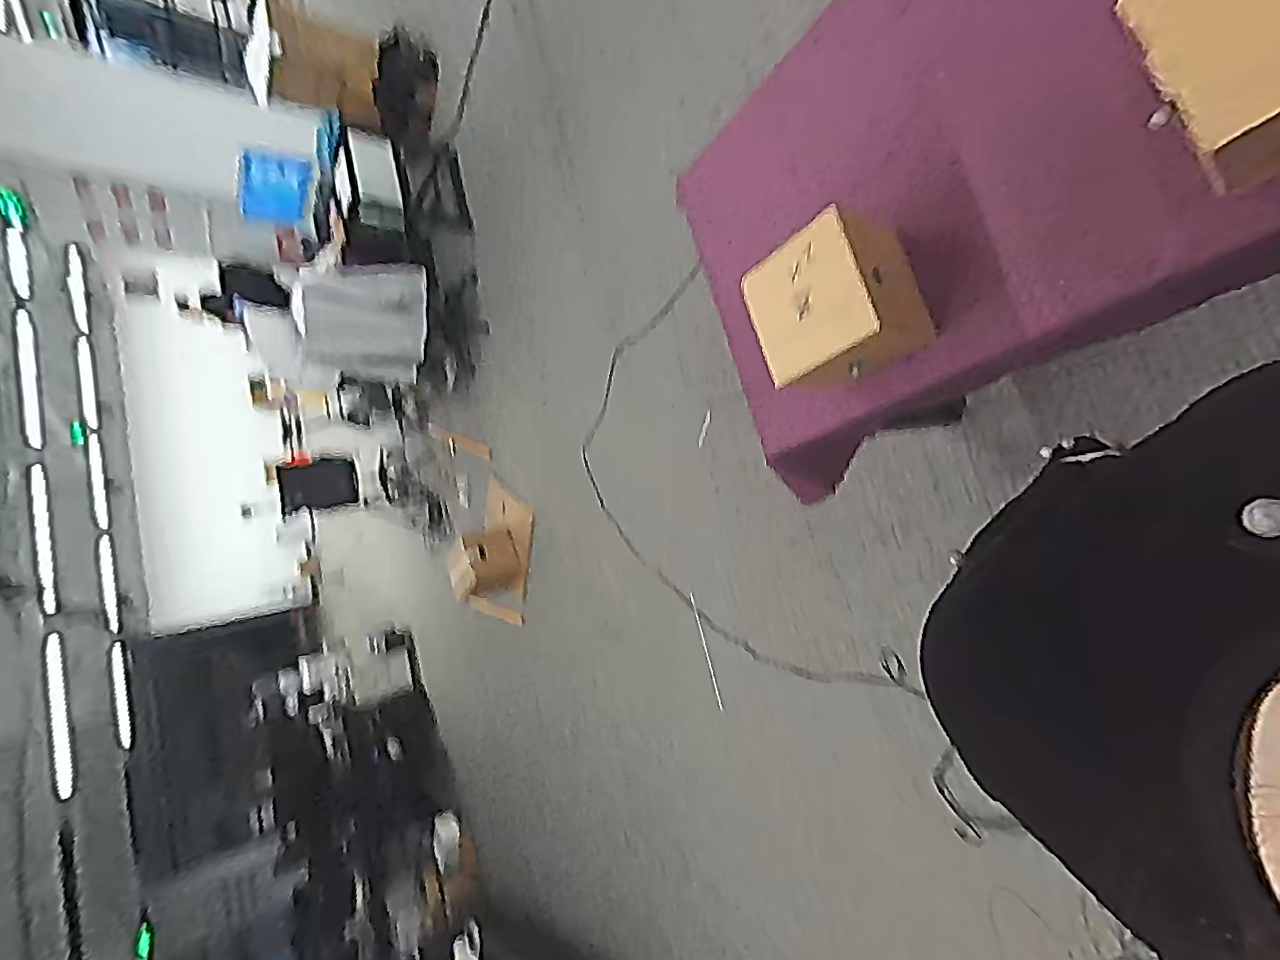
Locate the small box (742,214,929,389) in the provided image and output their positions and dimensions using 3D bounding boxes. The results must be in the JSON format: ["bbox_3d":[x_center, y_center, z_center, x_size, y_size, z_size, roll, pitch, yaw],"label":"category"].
[{"bbox_3d":[0.284,-0.245,0.785,0.168,0.176,0.179,-28,74,49],"label":"small box"}]

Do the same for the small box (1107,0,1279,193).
[{"bbox_3d":[0.544,-0.374,0.444,0.179,0.176,0.168,-30,72,50],"label":"small box"}]
